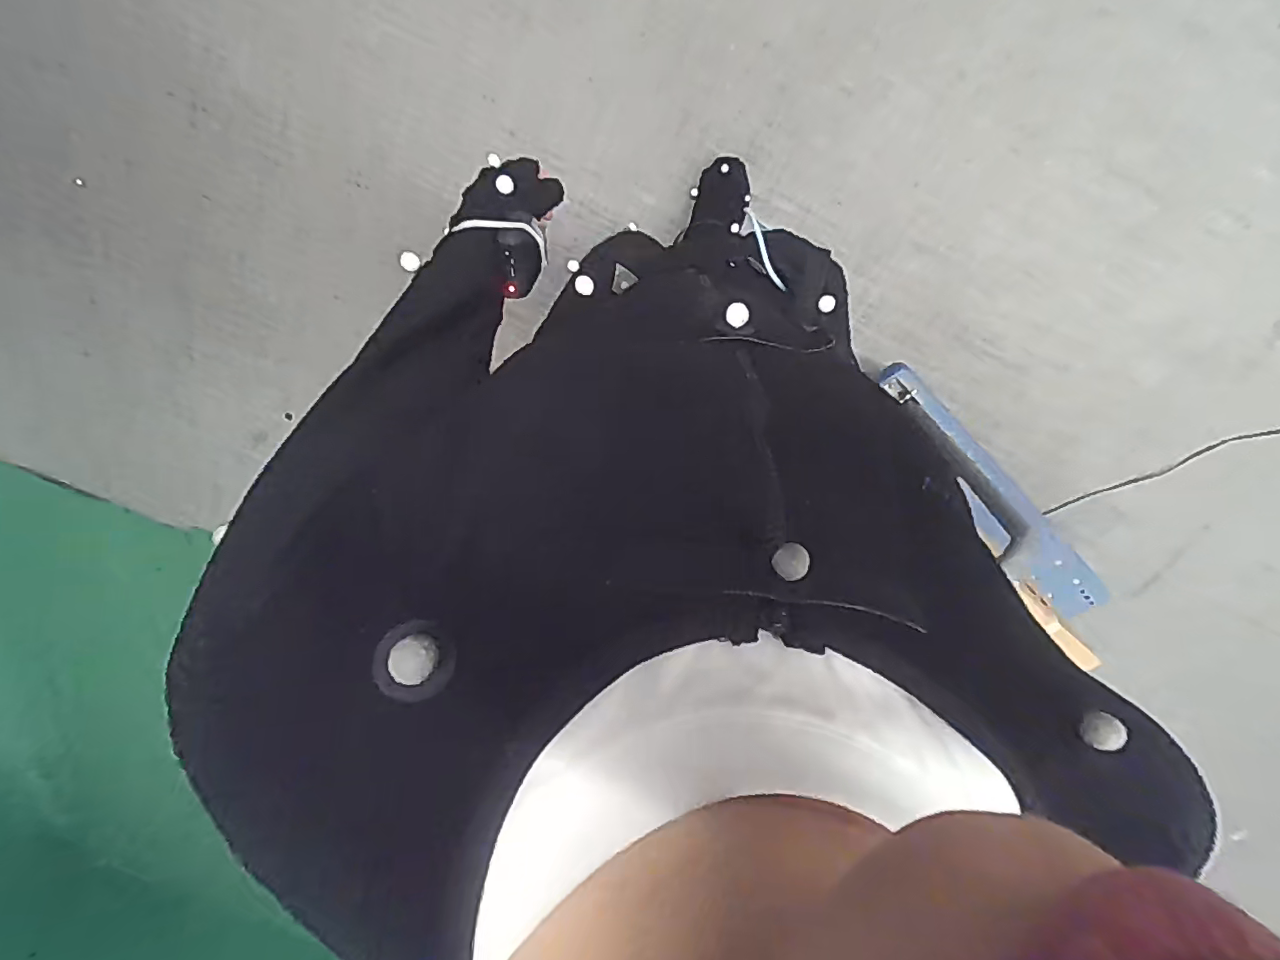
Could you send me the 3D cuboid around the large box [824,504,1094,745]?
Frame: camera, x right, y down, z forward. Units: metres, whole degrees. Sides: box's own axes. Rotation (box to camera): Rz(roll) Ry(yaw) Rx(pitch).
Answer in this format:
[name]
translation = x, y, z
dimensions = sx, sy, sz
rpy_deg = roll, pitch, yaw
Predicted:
[large box]
translation = 0.717, 0.339, 1.297
dimensions = 0.320, 0.320, 0.408
rpy_deg = 37, 115, -12
